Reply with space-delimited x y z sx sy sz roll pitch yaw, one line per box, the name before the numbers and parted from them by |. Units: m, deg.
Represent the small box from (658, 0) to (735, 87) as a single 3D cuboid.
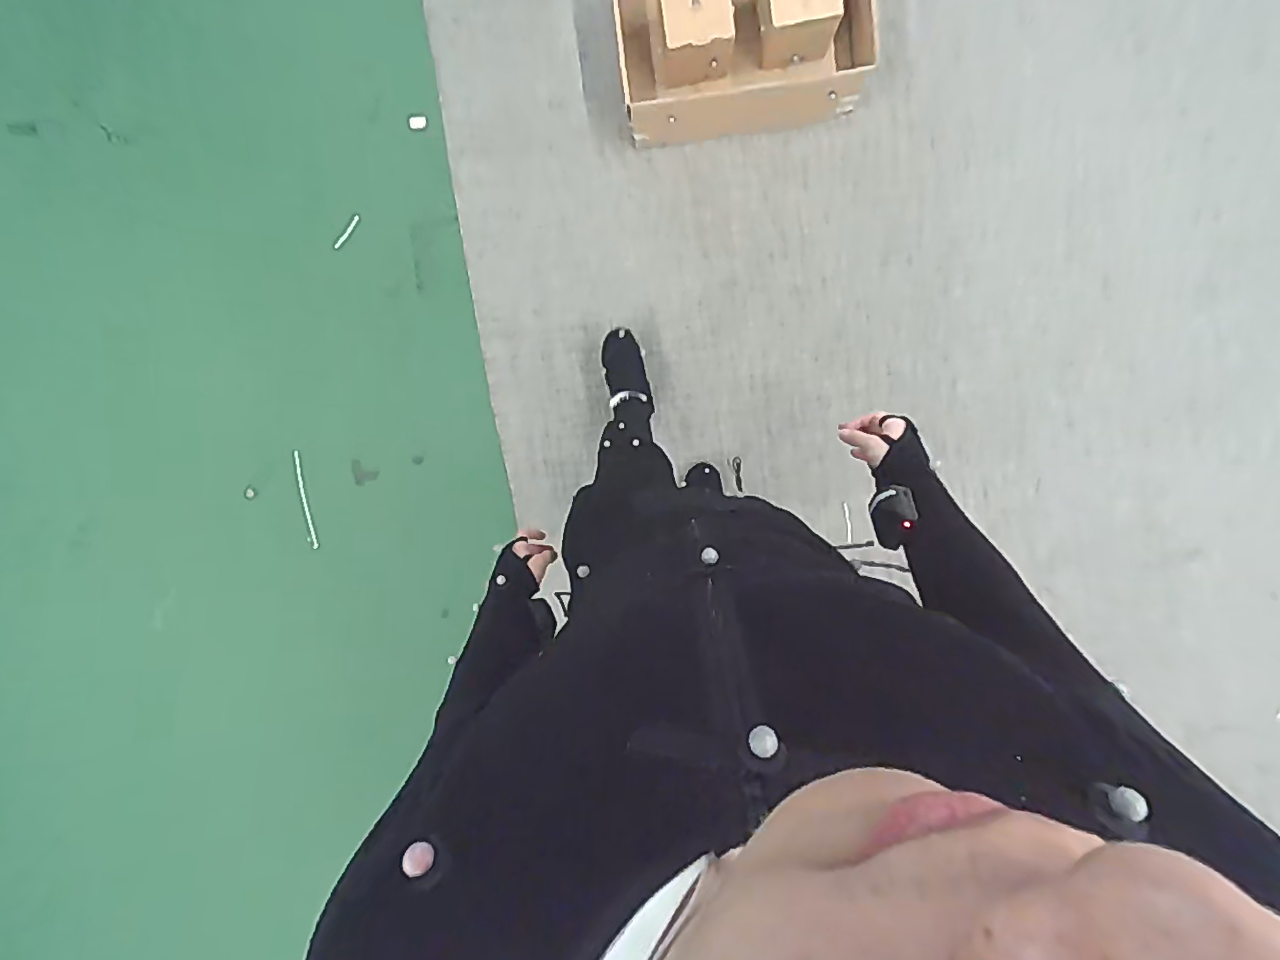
small box | 0.138 -1.124 1.352 0.168 0.176 0.179 -8 96 2
